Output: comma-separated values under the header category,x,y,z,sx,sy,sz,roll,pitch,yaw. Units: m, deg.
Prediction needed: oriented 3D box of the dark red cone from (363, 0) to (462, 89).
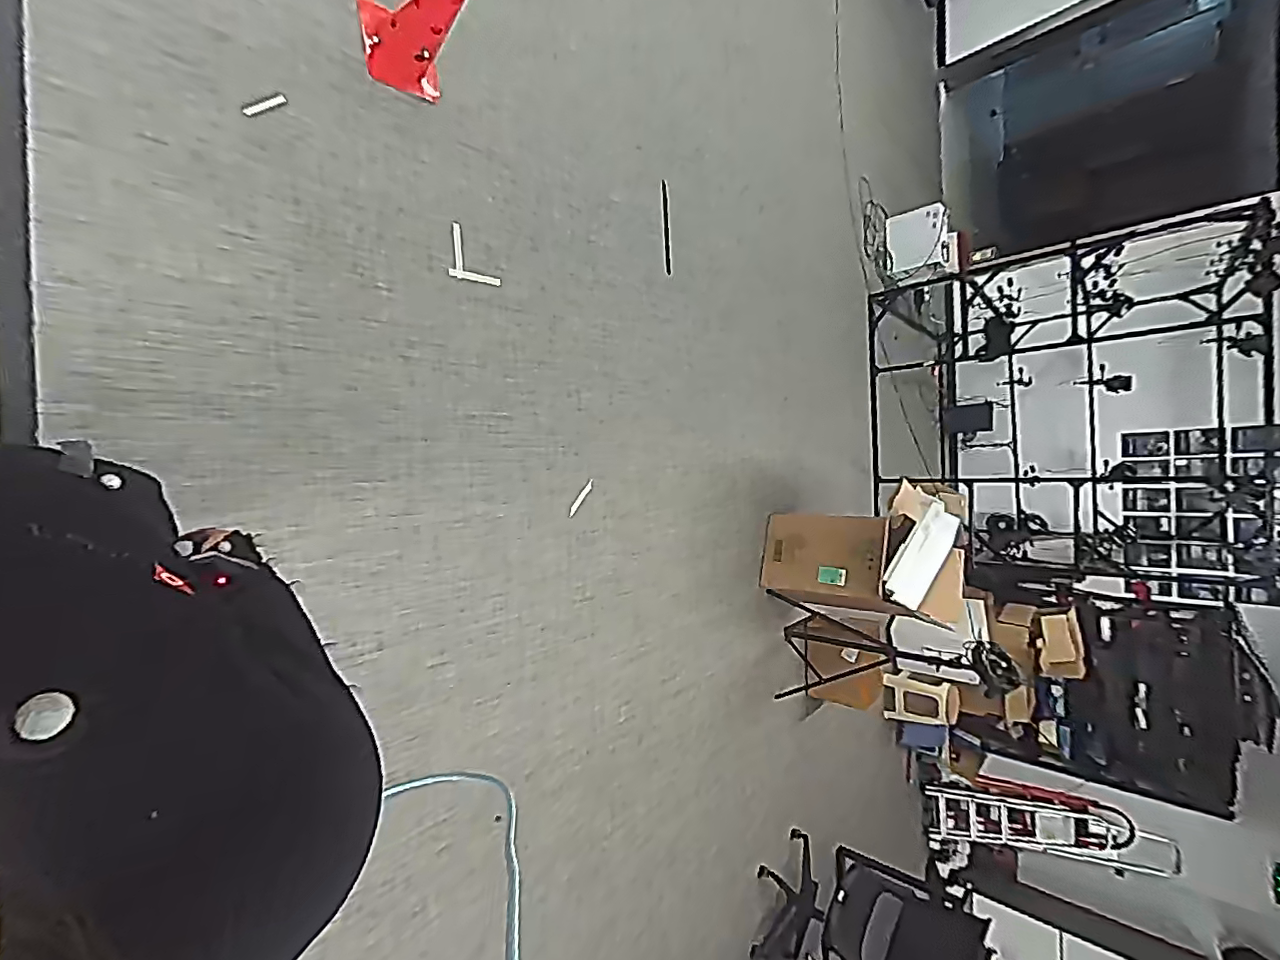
category,x,y,z,sx,sy,sz,roll,pitch,yaw
dark red cone,-0.495,-1.157,1.305,0.201,0.394,0.202,-14,99,-46
